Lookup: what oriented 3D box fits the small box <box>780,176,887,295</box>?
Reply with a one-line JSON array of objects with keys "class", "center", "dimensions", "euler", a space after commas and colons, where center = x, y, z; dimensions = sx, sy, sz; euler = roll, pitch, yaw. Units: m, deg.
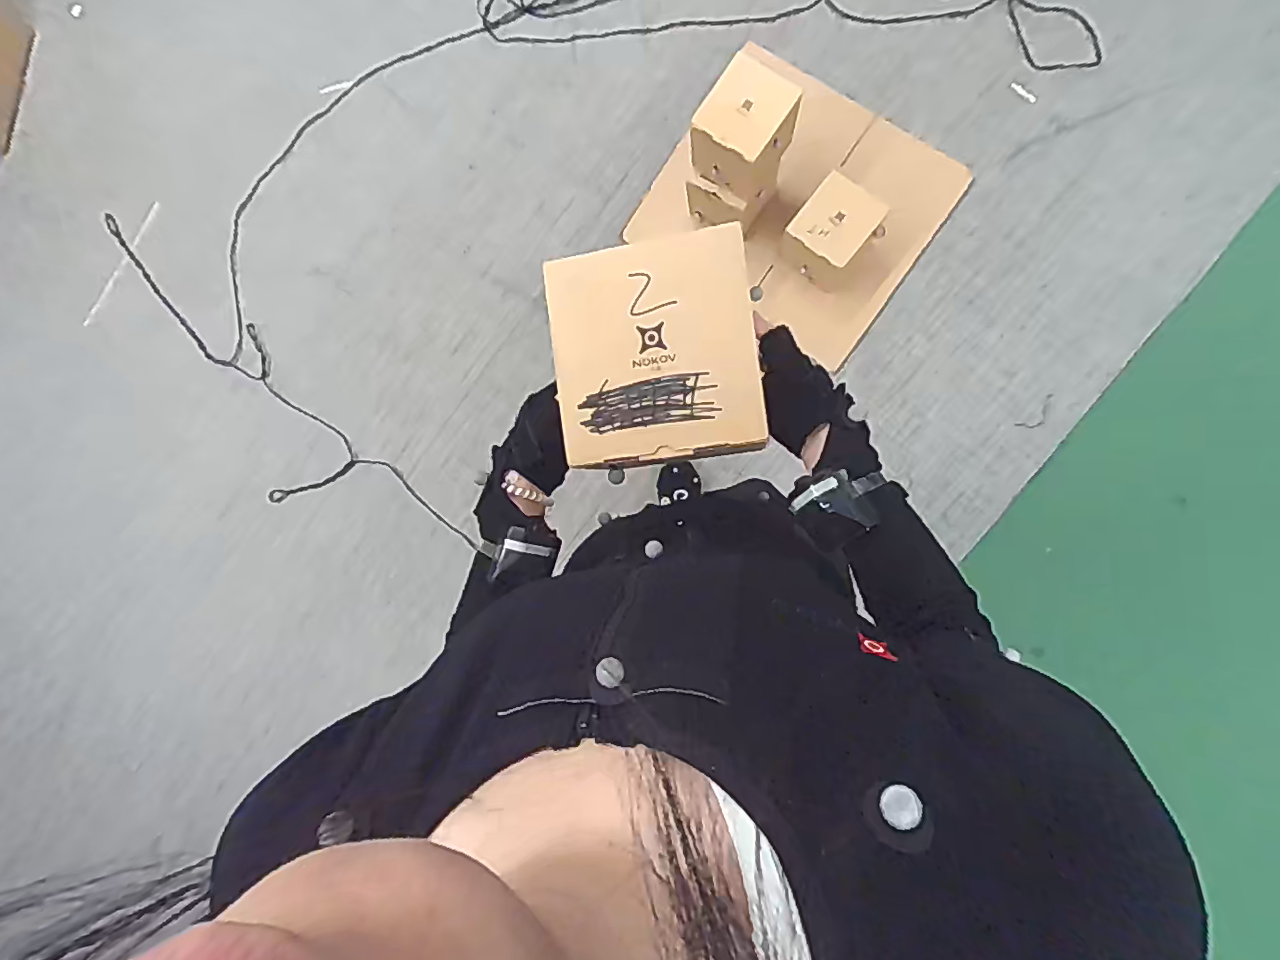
[{"class": "small box", "center": [0.466, -0.595, 1.338], "dimensions": [0.168, 0.176, 0.179], "euler": [40, 96, 7]}]

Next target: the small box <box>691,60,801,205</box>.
[{"class": "small box", "center": [0.227, -0.762, 1.204], "dimensions": [0.168, 0.176, 0.179], "euler": [36, 95, 6]}]

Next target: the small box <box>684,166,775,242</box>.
[{"class": "small box", "center": [0.230, -0.741, 1.368], "dimensions": [0.168, 0.176, 0.179], "euler": [33, 94, 7]}]
